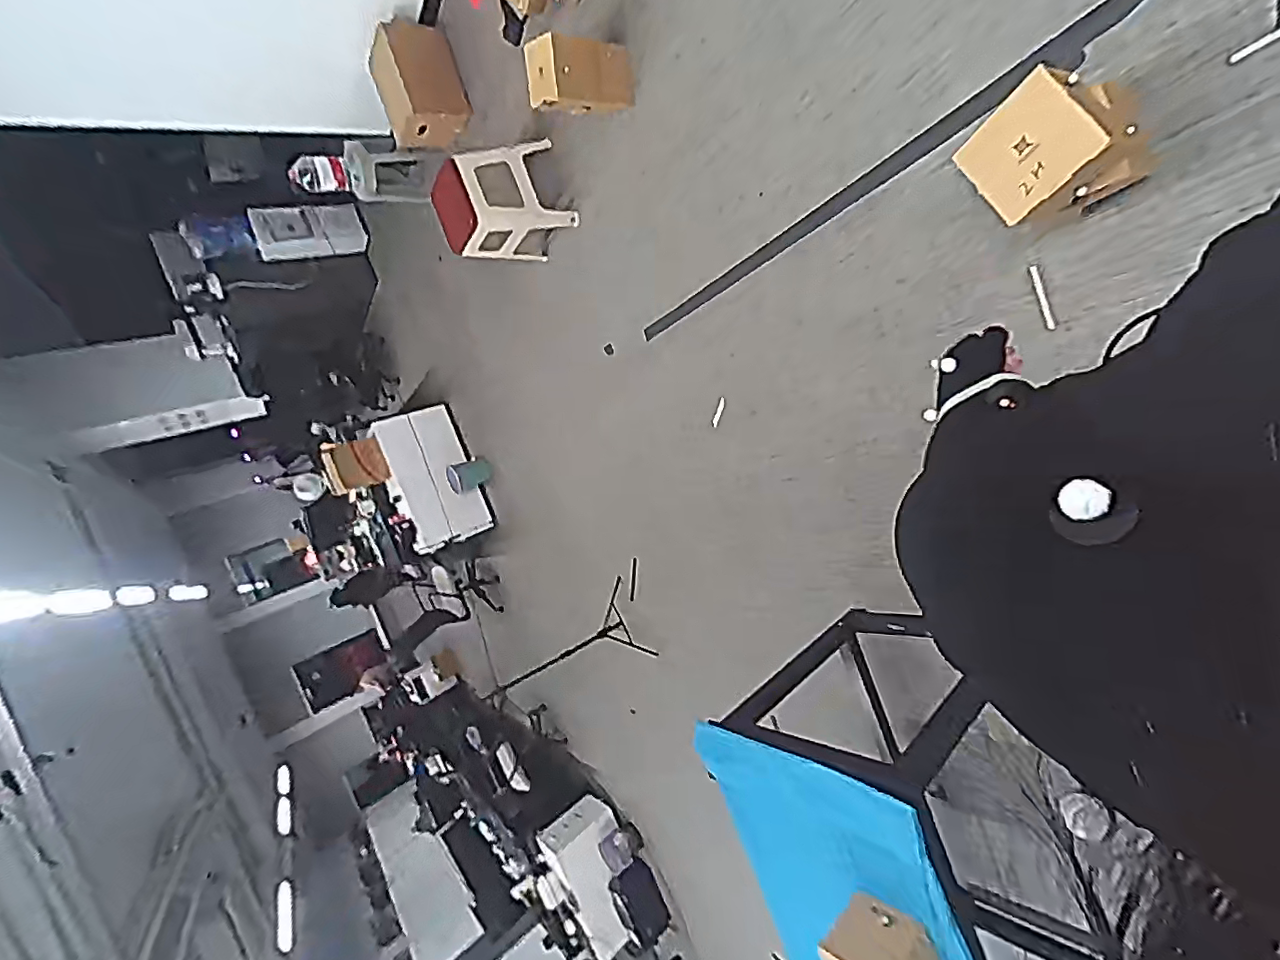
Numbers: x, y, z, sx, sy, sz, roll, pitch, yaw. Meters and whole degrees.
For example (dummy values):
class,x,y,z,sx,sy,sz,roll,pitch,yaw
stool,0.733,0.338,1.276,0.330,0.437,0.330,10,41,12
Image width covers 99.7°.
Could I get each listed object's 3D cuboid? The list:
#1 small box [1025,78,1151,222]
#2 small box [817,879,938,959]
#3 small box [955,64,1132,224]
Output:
class,x,y,z,sx,sy,sz,roll,pitch,yaw
small box,0.840,-0.629,1.043,0.168,0.176,0.179,-18,94,56
small box,0.526,1.035,1.175,0.168,0.176,0.179,-17,96,56
small box,0.709,-0.585,0.954,0.179,0.176,0.168,59,147,7
